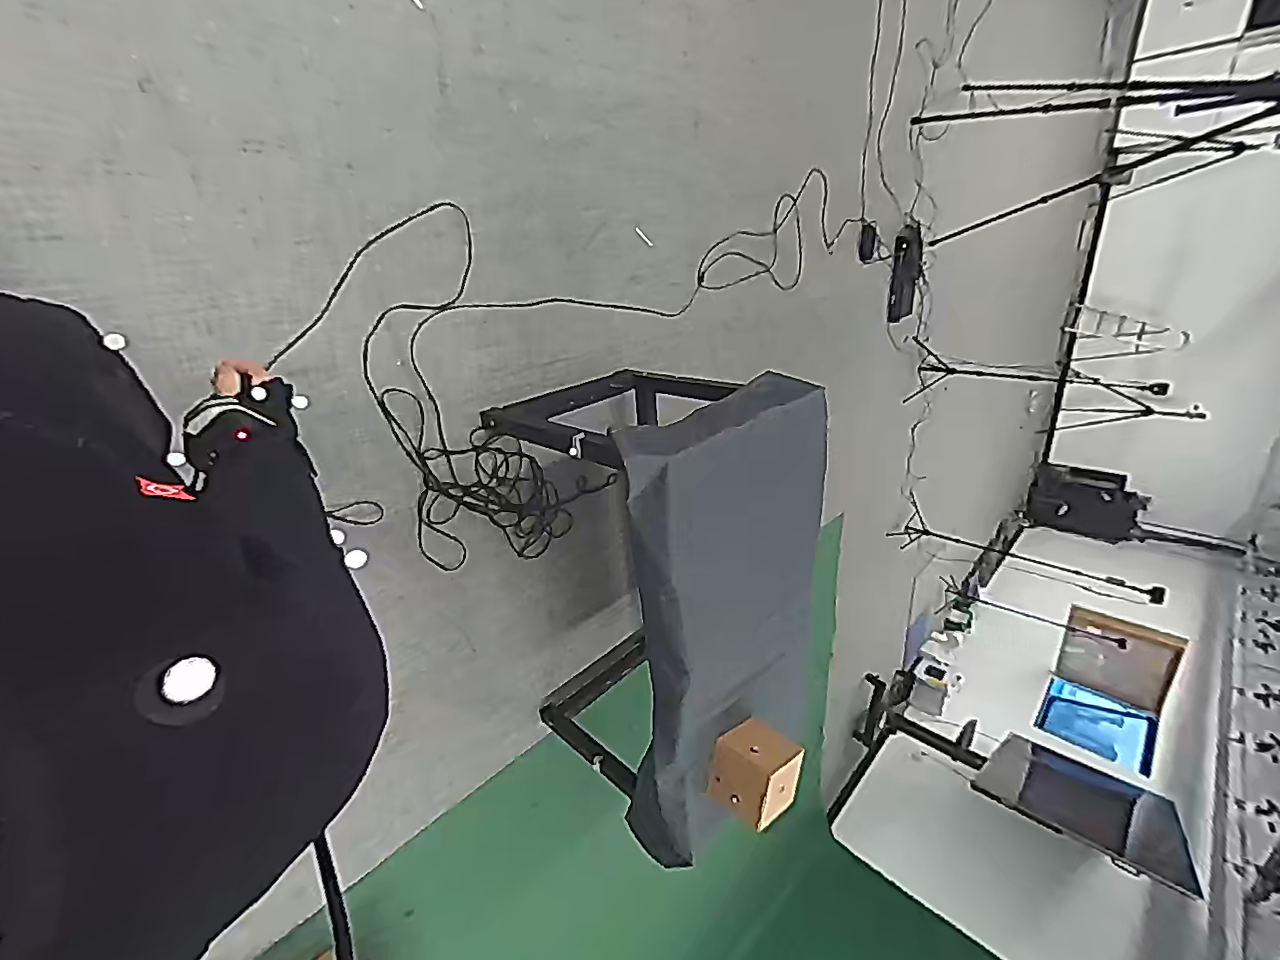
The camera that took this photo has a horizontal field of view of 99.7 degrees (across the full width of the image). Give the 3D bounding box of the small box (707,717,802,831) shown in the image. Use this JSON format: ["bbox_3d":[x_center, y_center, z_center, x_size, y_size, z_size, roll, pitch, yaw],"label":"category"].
[{"bbox_3d":[0.299,0.766,1.430,0.179,0.176,0.168,-2,106,-48],"label":"small box"}]
